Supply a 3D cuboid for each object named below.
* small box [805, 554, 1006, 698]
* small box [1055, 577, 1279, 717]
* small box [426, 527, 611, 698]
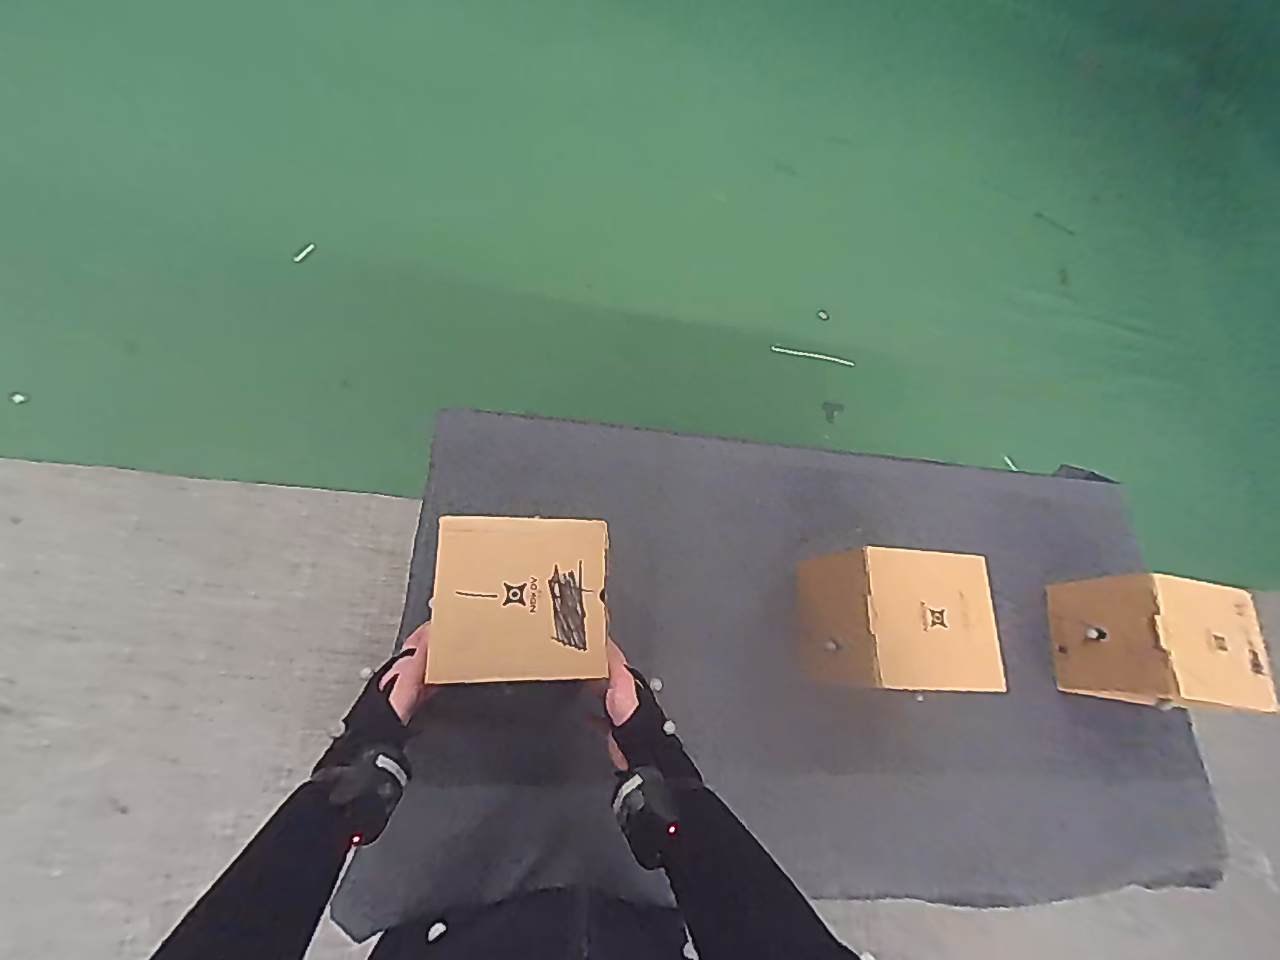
[{"bbox_3d":[0.337,0.200,0.726,0.179,0.176,0.168,6,71,-13],"label":"small box"},{"bbox_3d":[0.763,0.251,0.808,0.179,0.176,0.168,11,70,-9],"label":"small box"},{"bbox_3d":[-0.134,0.157,0.619,0.179,0.176,0.168,3,69,-12],"label":"small box"}]
